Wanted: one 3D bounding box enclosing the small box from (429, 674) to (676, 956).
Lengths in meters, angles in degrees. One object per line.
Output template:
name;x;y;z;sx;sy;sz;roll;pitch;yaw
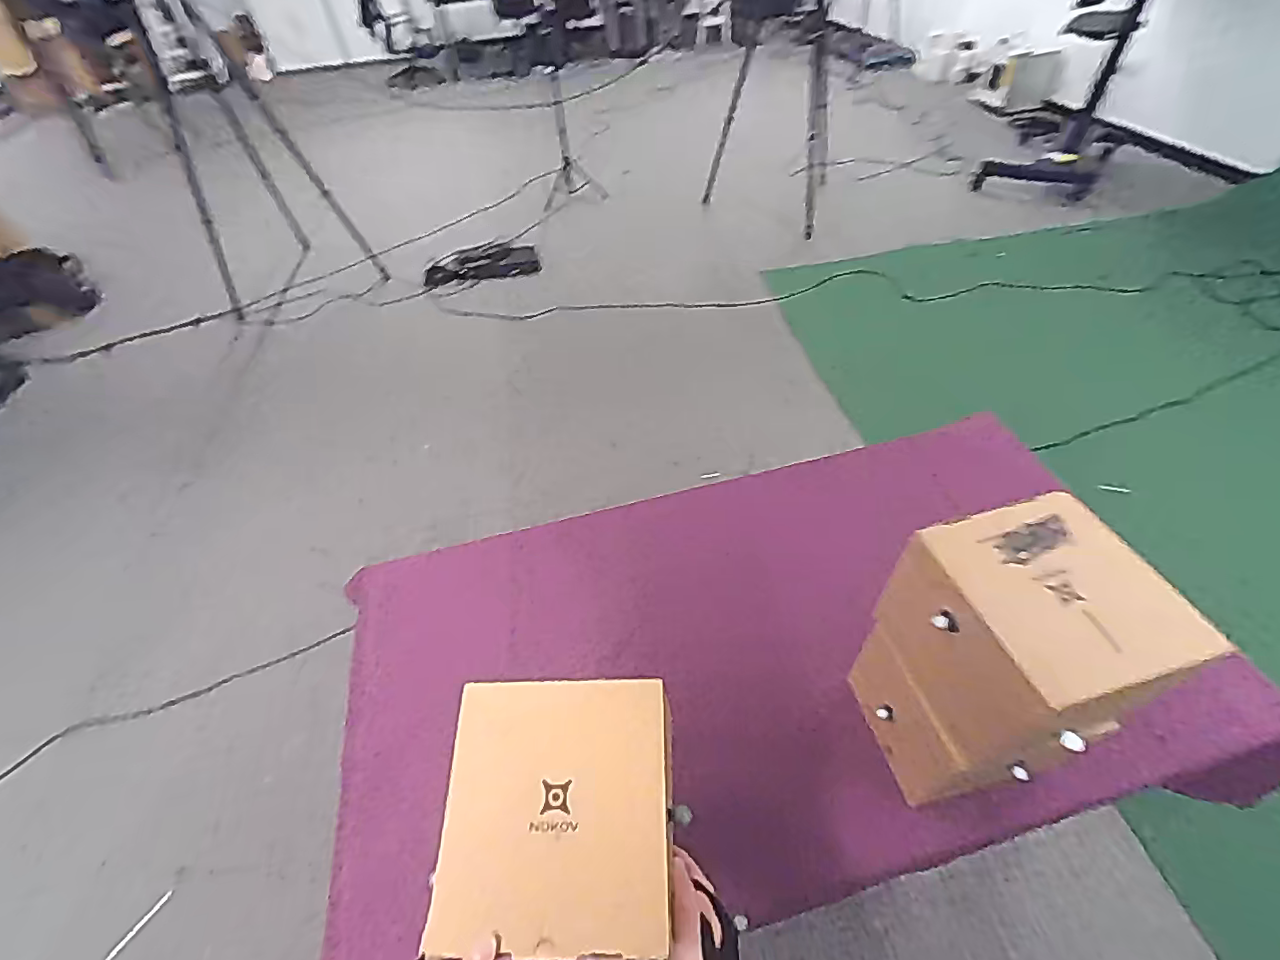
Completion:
small box;-0.054;0.273;0.465;0.168;0.176;0.179;-2;61;4

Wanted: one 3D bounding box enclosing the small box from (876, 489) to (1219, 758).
small box;0.363;0.141;0.530;0.168;0.176;0.179;-14;49;-7

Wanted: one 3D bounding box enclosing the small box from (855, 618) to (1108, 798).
small box;0.377;0.257;0.646;0.179;0.176;0.168;-12;48;-5
